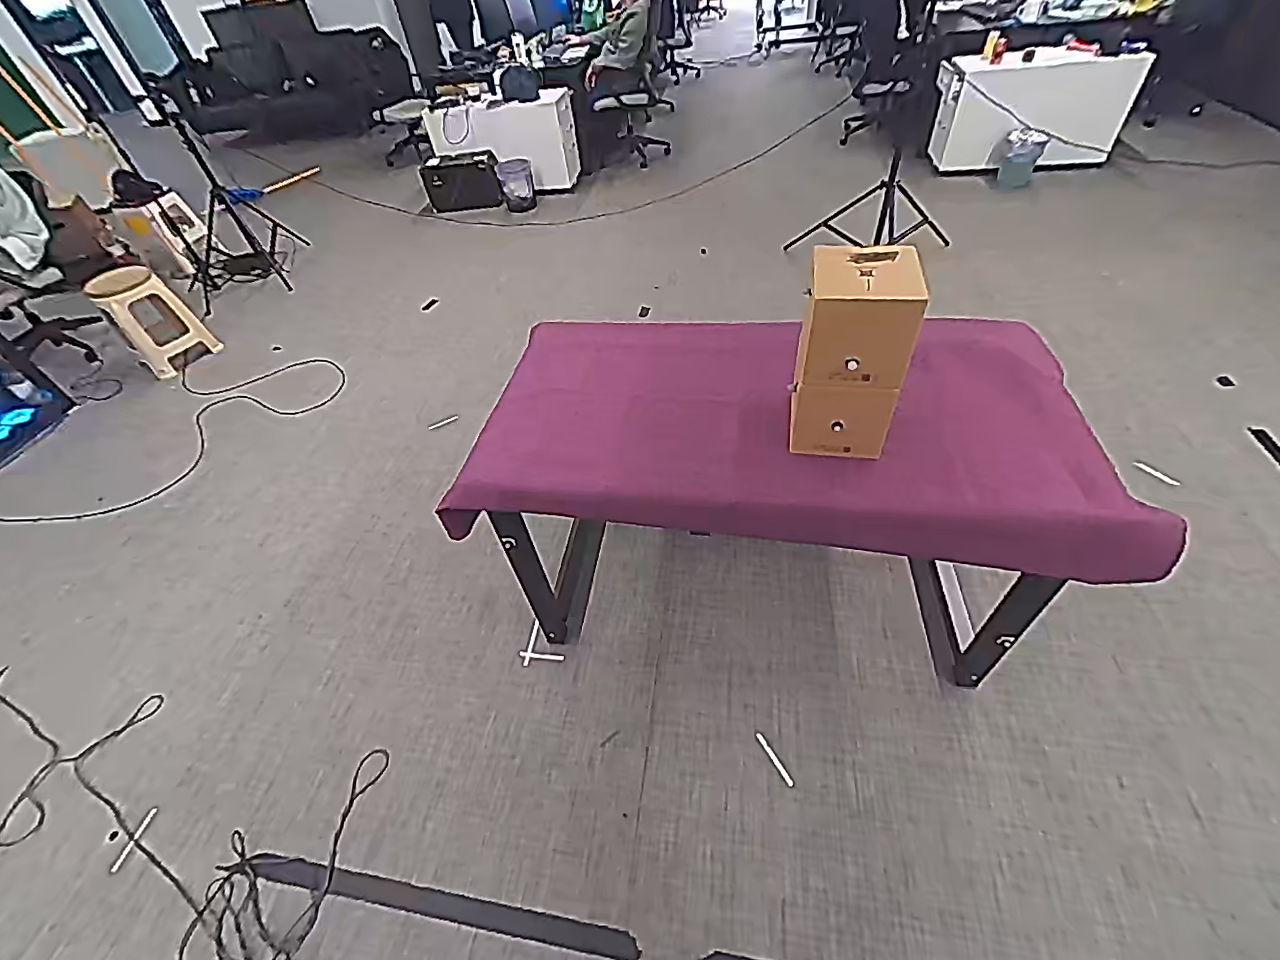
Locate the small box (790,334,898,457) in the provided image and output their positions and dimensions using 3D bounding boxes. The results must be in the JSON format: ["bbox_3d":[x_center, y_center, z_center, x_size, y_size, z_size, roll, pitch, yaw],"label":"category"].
[{"bbox_3d":[0.385,-0.162,1.044,0.168,0.176,0.179,6,48,12],"label":"small box"}]

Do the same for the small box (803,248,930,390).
[{"bbox_3d":[0.374,-0.277,0.926,0.168,0.176,0.179,5,48,12],"label":"small box"}]
